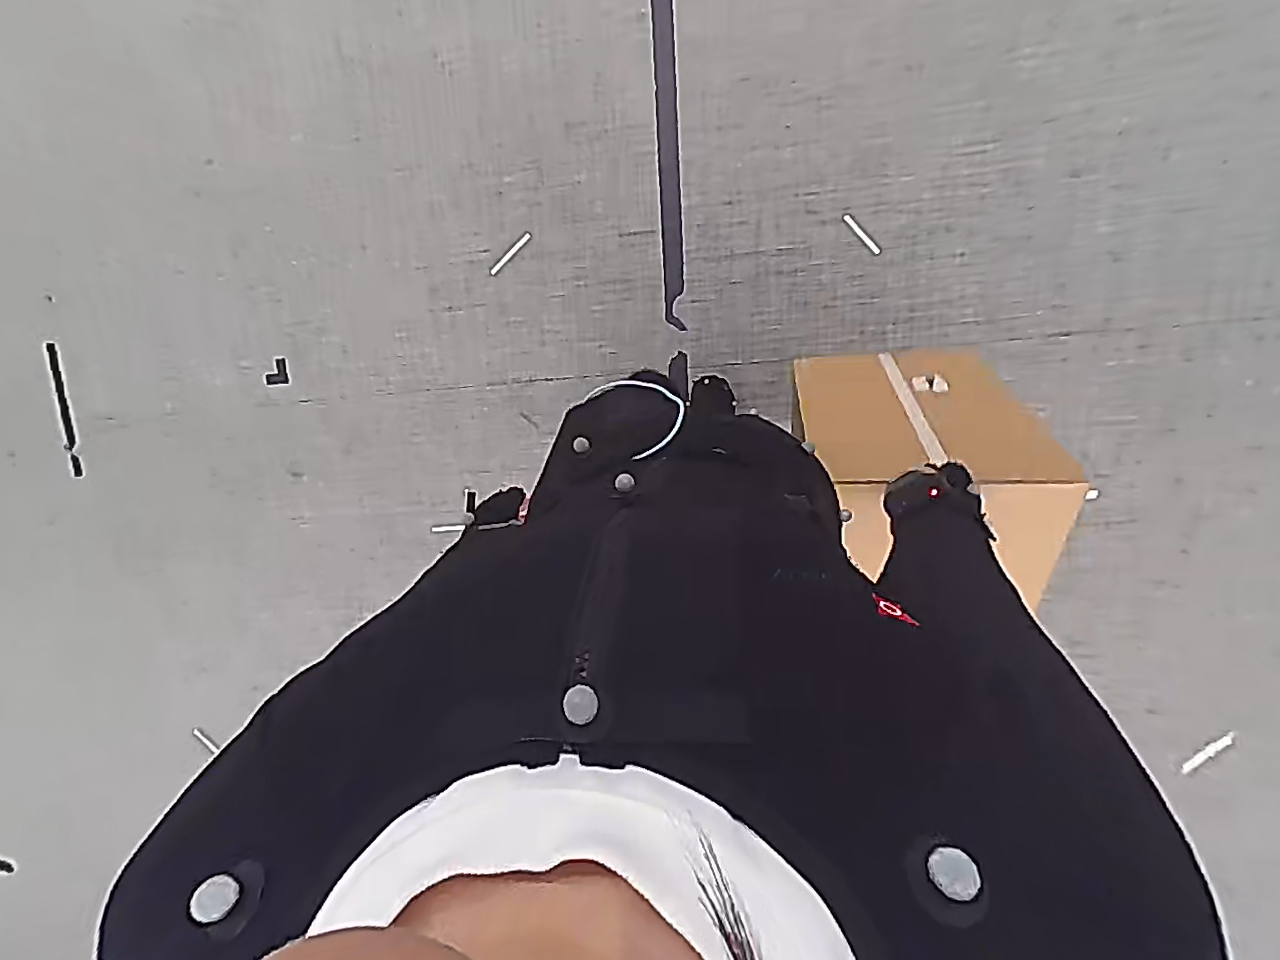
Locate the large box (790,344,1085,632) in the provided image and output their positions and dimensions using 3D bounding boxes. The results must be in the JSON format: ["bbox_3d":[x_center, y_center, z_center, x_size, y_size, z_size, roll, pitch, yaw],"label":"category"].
[{"bbox_3d":[0.429,0.000,0.909,0.320,0.408,0.320,0,125,11],"label":"large box"}]
